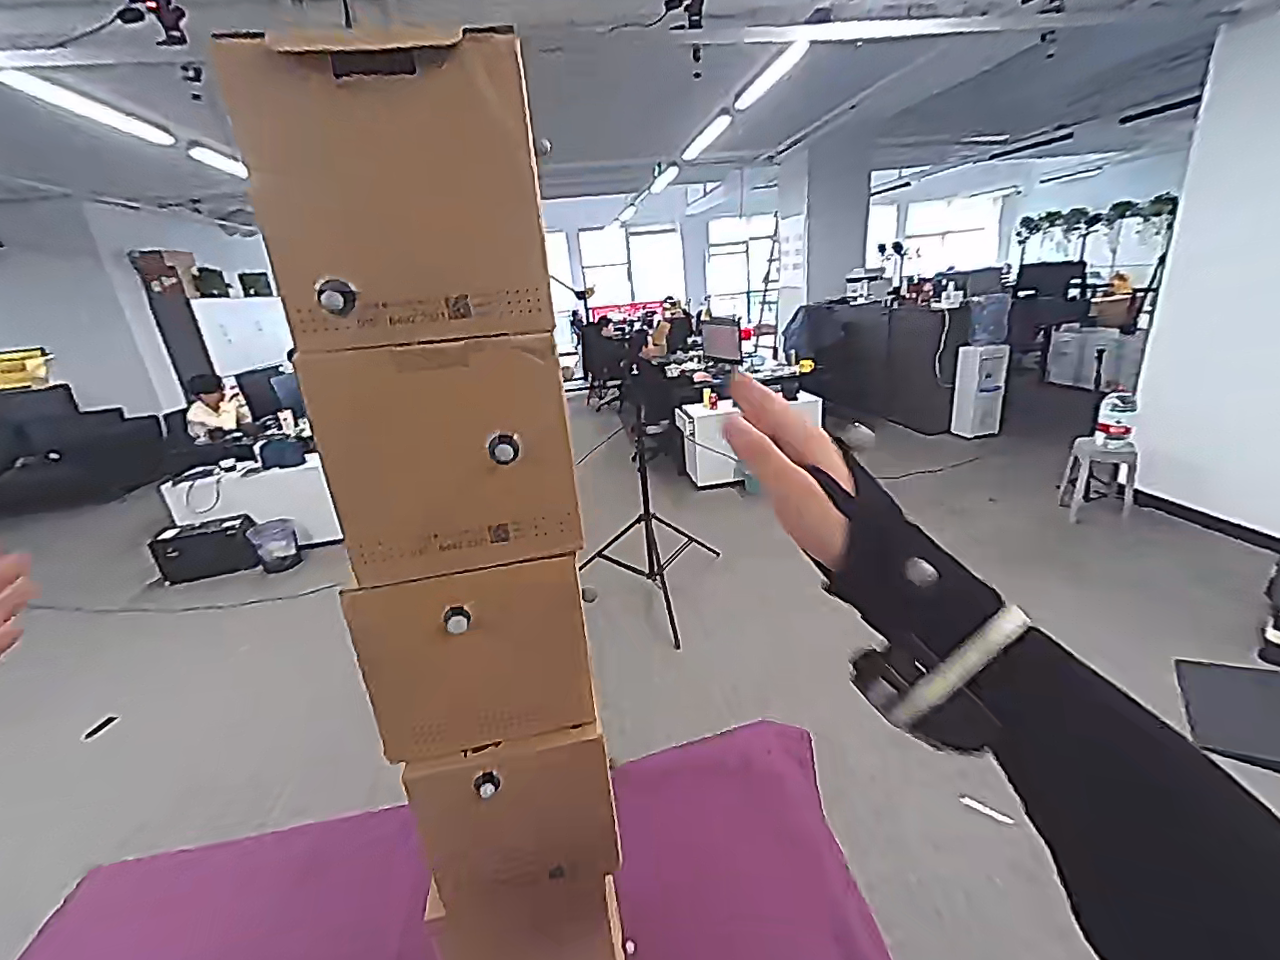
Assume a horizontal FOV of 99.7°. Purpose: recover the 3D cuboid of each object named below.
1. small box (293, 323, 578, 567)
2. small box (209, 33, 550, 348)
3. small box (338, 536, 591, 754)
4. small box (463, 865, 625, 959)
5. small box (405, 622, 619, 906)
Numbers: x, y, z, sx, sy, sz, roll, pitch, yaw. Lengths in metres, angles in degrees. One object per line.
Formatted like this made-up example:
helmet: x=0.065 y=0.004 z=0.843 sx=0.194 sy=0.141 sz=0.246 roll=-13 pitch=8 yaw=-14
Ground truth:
small box: x=-0.149 y=-0.037 z=0.454 sx=0.168 sy=0.176 sz=0.179 roll=-8 pitch=19 yaw=-11
small box: x=-0.161 y=-0.194 z=0.406 sx=0.168 sy=0.176 sz=0.179 roll=-8 pitch=19 yaw=-9
small box: x=-0.143 y=0.118 z=0.504 sx=0.179 sy=0.176 sz=0.168 roll=-9 pitch=20 yaw=-9
small box: x=-0.108 y=0.581 z=0.657 sx=0.179 sy=0.176 sz=0.168 roll=-9 pitch=19 yaw=-8
small box: x=-0.119 y=0.273 z=0.549 sx=0.168 sy=0.176 sz=0.179 roll=-9 pitch=20 yaw=-8
